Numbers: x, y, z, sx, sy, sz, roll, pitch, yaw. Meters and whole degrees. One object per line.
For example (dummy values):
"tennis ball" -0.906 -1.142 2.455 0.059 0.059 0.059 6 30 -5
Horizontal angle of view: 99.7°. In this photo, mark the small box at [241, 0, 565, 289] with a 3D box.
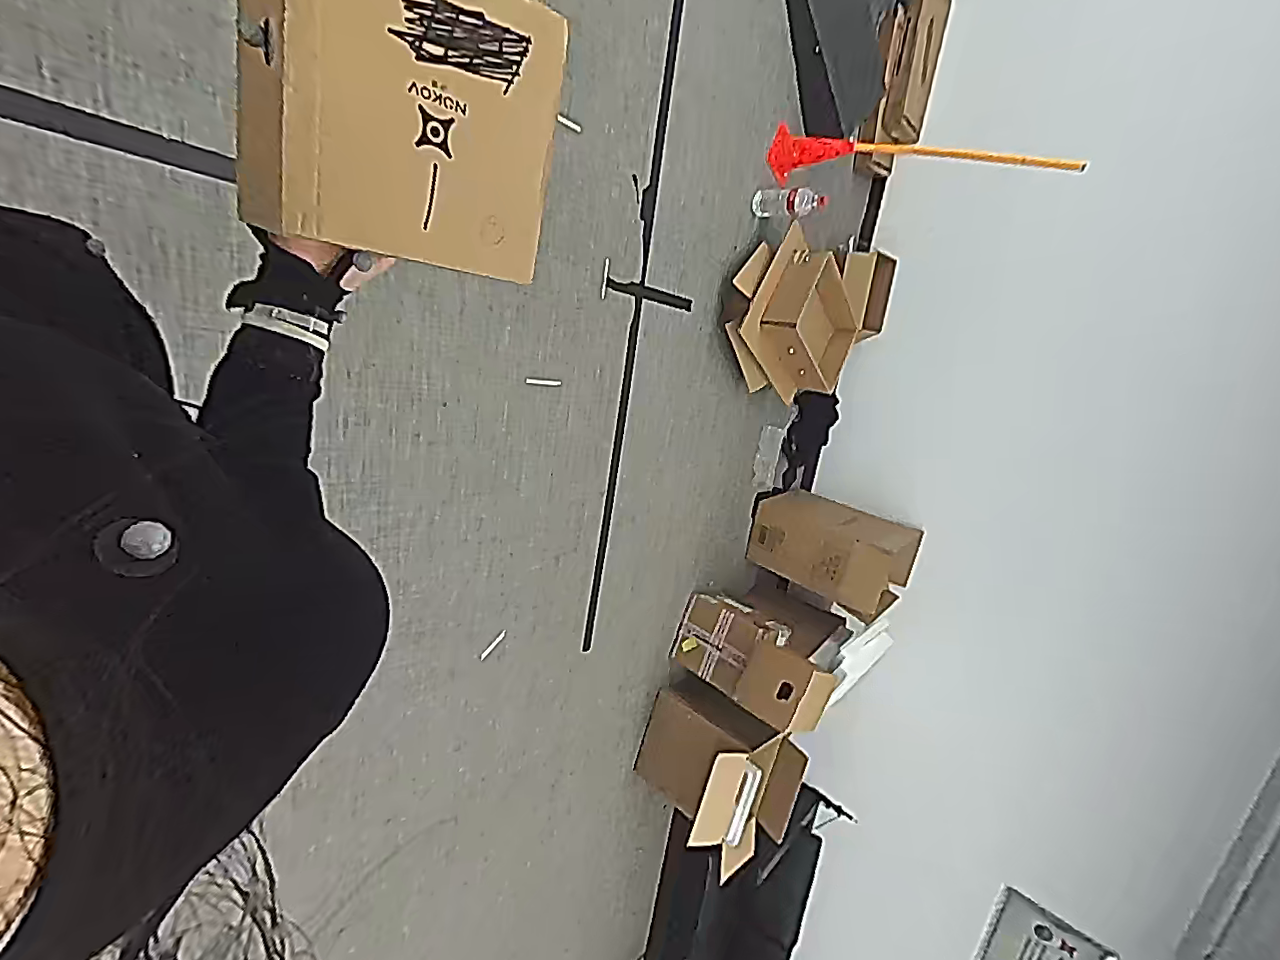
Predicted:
"small box" -0.181 -0.255 0.397 0.168 0.176 0.179 -4 115 -43
